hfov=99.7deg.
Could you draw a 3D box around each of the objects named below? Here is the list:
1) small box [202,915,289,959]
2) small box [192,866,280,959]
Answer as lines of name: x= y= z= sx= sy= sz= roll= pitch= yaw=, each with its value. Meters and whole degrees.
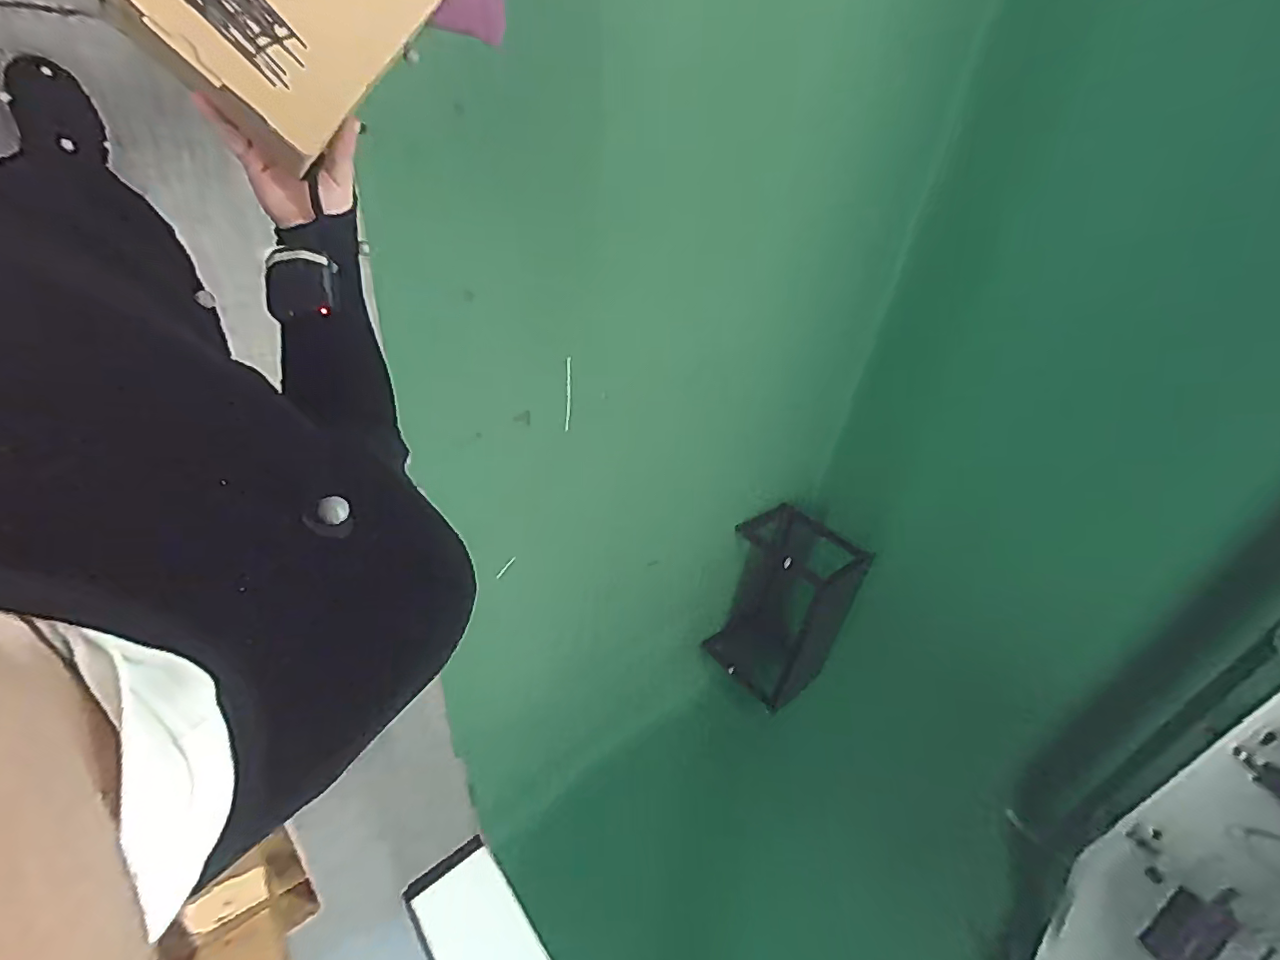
small box: x=-1.080 y=1.367 z=1.496 sx=0.168 sy=0.176 sz=0.179 roll=-20 pitch=130 yaw=-37
small box: x=-1.187 y=1.296 z=1.595 sx=0.168 sy=0.176 sz=0.179 roll=-21 pitch=131 yaw=-38
